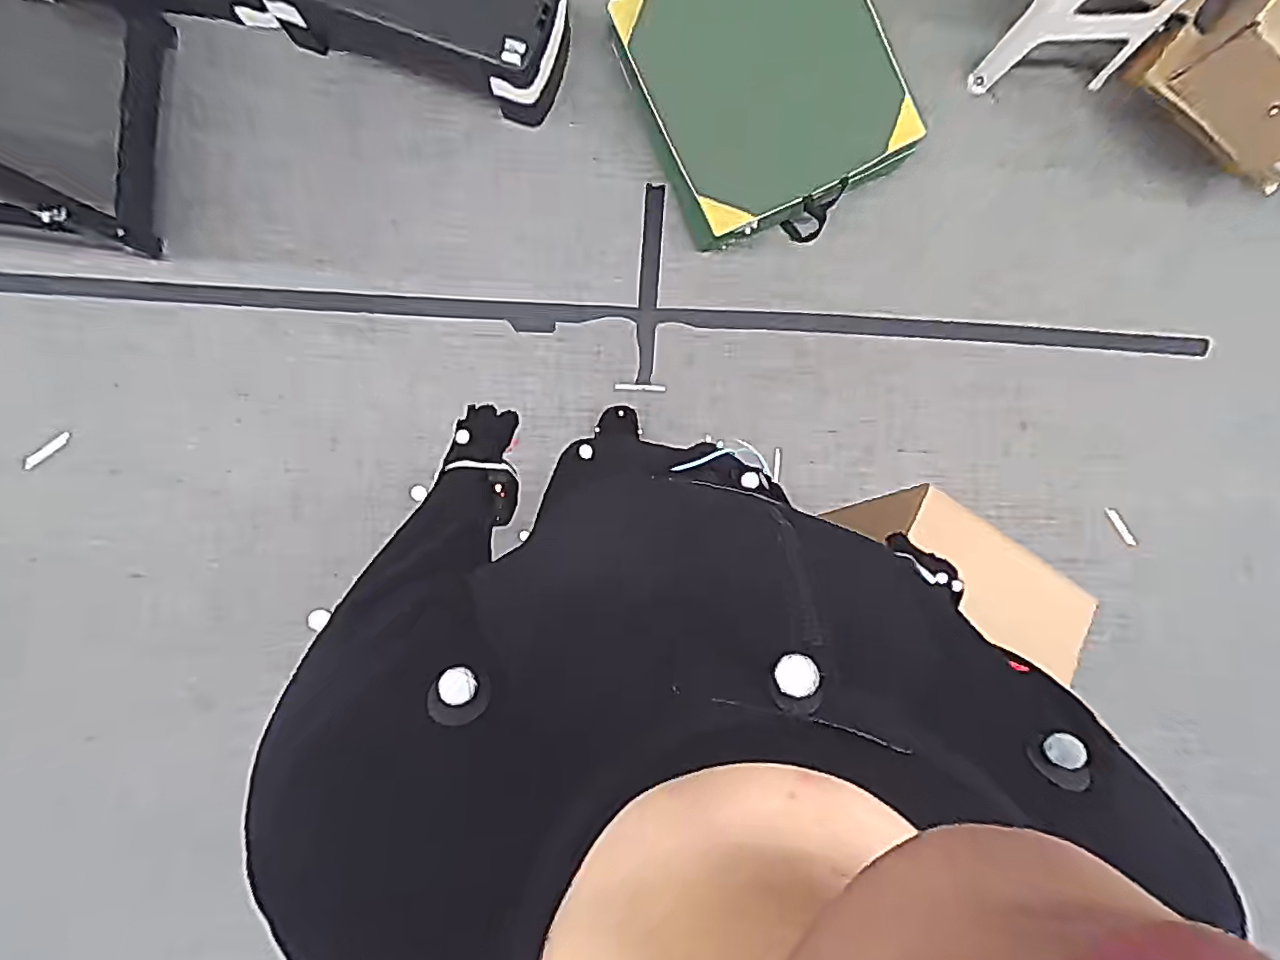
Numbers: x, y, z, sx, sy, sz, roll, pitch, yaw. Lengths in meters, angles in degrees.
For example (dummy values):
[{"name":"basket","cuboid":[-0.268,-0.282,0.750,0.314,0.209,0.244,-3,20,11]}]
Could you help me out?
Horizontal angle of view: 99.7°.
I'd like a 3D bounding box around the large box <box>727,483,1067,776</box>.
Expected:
[{"name":"large box","cuboid":[0.418,0.251,0.959,0.320,0.408,0.320,35,73,-2]}]
